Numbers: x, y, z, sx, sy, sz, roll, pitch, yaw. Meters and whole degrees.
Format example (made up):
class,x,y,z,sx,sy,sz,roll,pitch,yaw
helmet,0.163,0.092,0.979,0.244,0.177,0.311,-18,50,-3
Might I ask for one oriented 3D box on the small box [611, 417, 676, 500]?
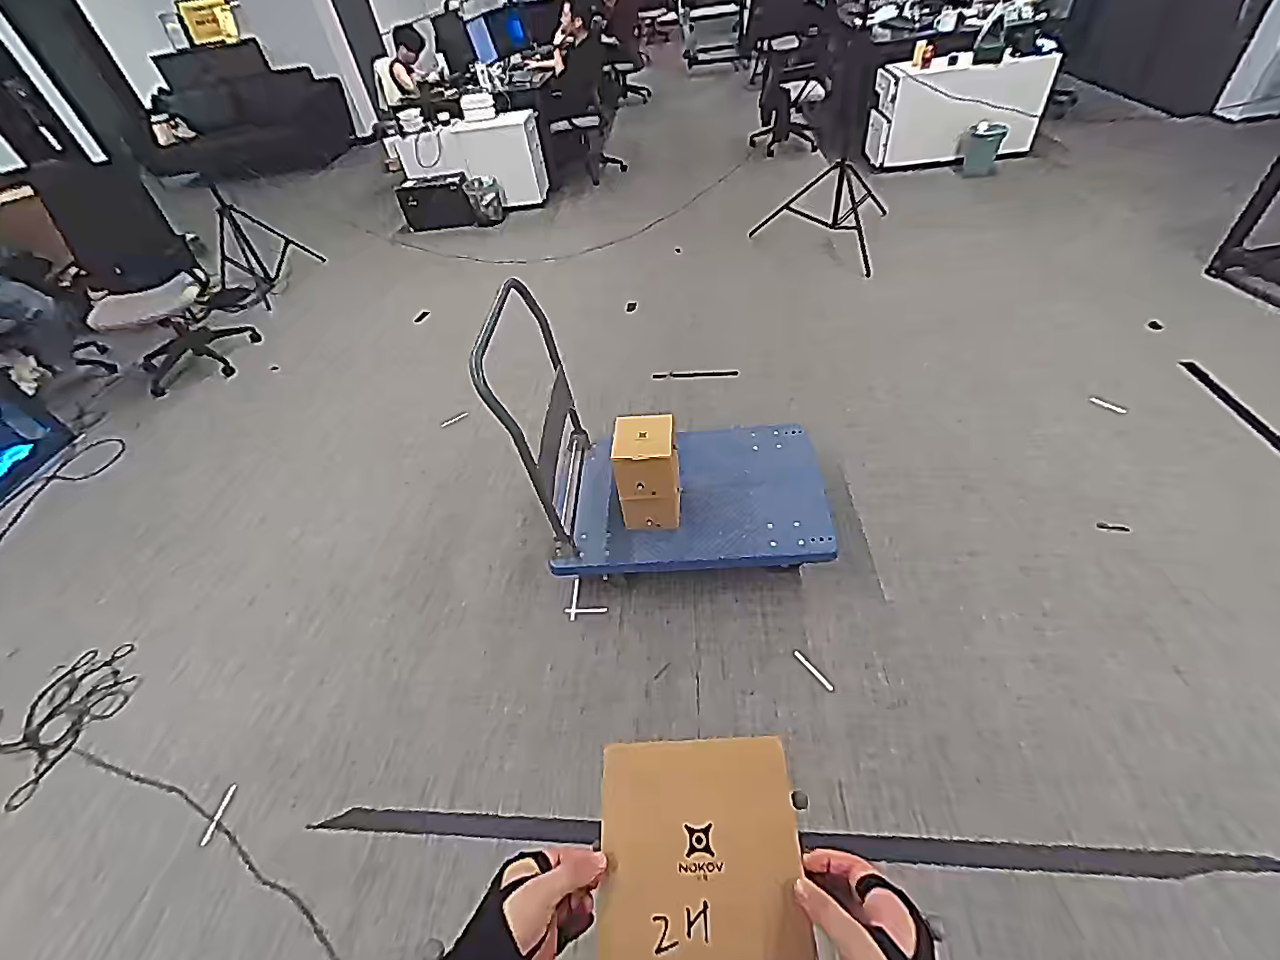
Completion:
class,x,y,z,sx,sy,sz,roll,pitch,yaw
small box,0.014,-0.062,1.559,0.168,0.176,0.179,-2,47,7

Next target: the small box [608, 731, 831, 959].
class,x,y,z,sx,sy,sz,roll,pitch,yaw
small box,0.067,0.351,0.500,0.168,0.176,0.179,-6,50,6
